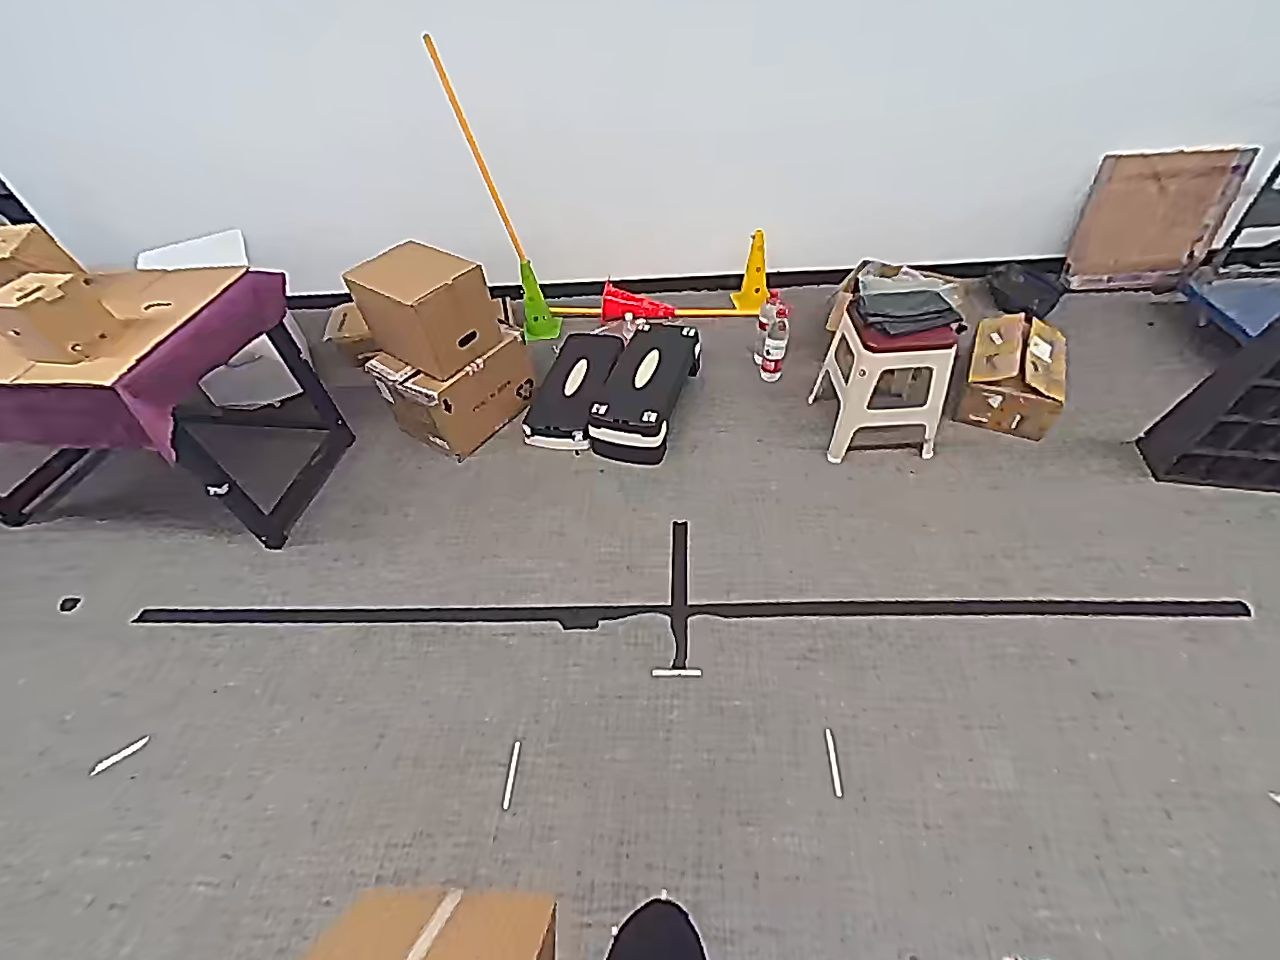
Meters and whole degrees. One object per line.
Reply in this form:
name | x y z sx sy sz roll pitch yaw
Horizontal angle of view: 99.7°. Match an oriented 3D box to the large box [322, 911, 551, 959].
large box | -0.295 0.798 0.633 0.320 0.408 0.320 -2 79 2
